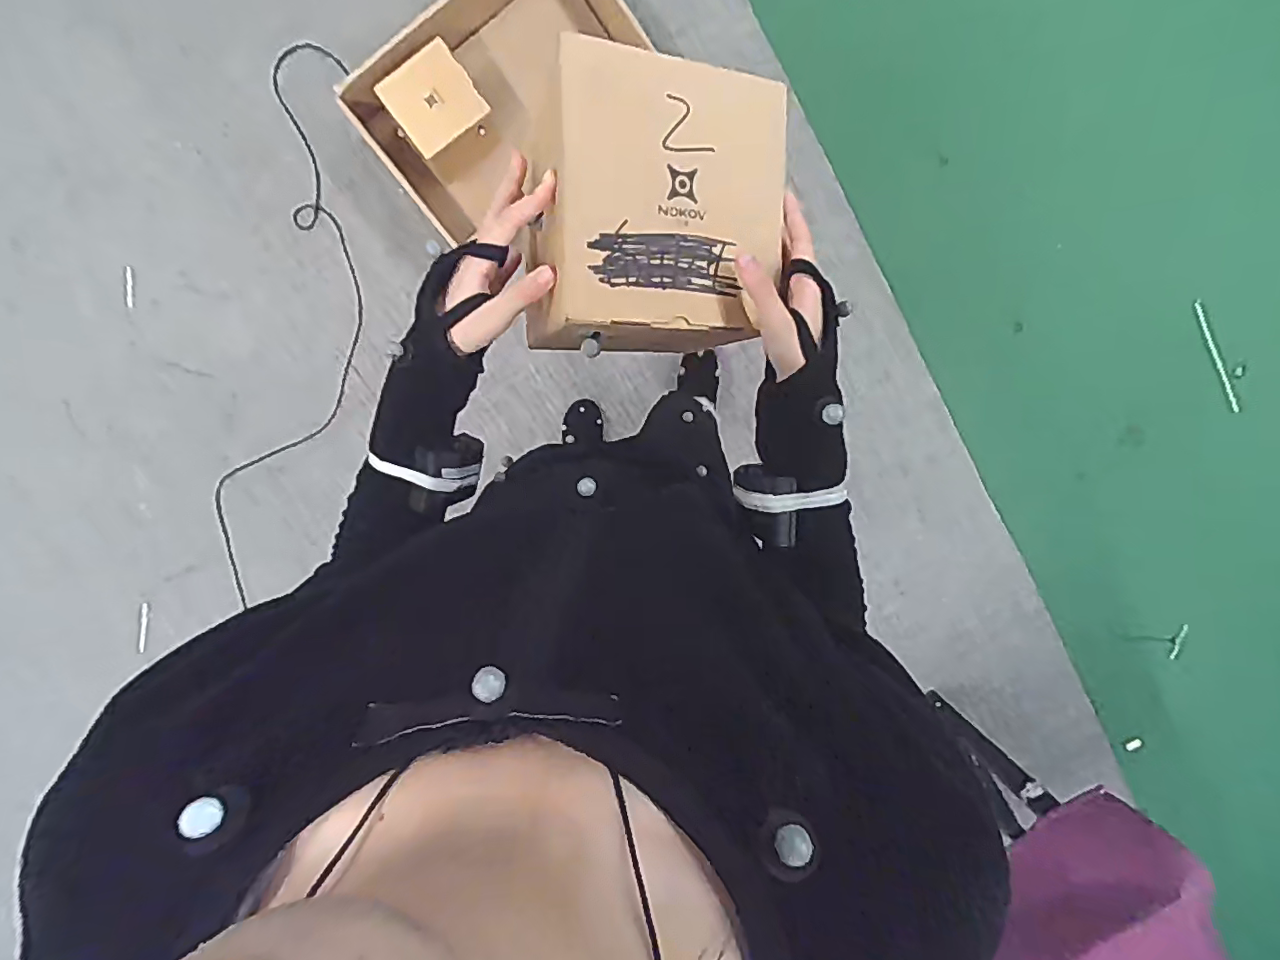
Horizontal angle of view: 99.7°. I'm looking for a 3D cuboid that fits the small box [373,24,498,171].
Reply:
[{"bbox_3d":[-0.436,-0.824,1.188,0.179,0.176,0.168,-37,103,1],"label":"small box"}]
